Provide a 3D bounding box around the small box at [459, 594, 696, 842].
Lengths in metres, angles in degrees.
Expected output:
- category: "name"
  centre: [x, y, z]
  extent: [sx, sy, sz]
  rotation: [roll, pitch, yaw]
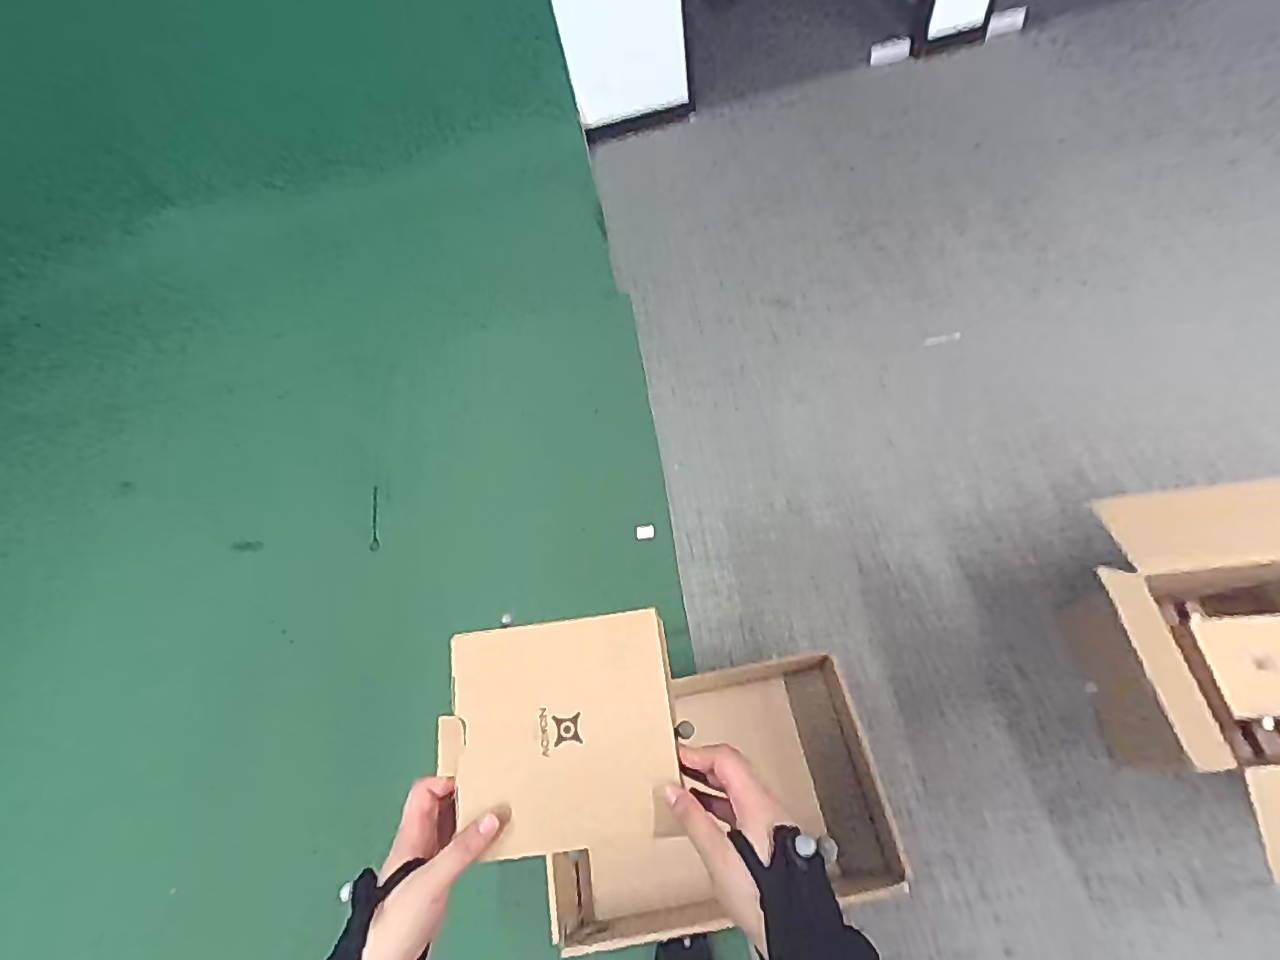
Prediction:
- category: "small box"
  centre: [-0.049, 0.205, 0.502]
  extent: [0.179, 0.176, 0.168]
  rotation: [-10, 72, 2]
